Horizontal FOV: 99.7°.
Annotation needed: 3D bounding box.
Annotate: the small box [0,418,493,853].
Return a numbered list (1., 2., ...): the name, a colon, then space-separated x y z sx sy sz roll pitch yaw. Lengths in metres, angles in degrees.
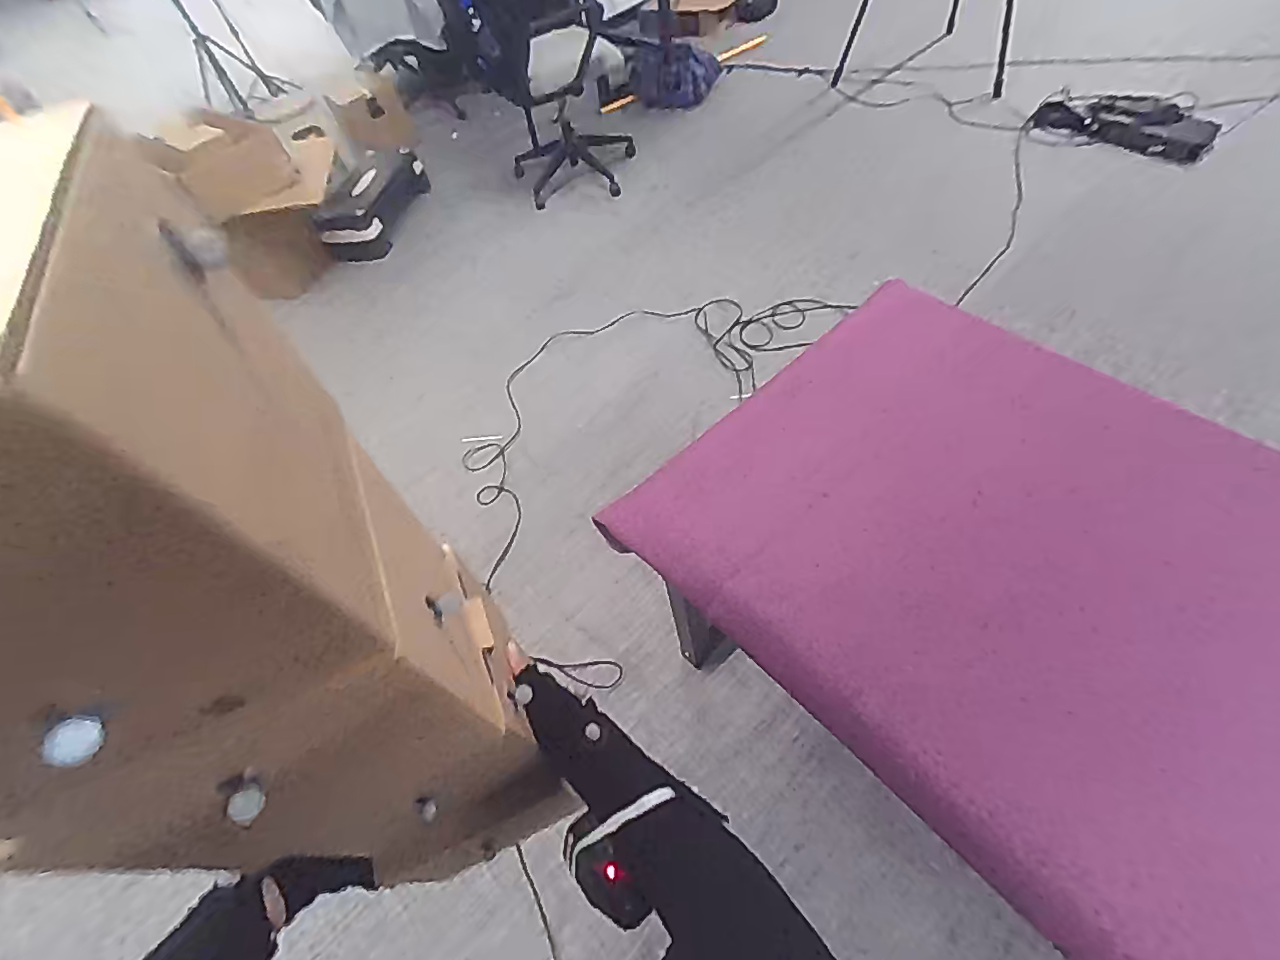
1. small box: -0.206 0.098 0.336 0.179 0.176 0.168 -24 57 -11

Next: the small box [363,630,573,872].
1. small box: -0.182 0.297 0.595 0.179 0.176 0.168 -22 56 -11
